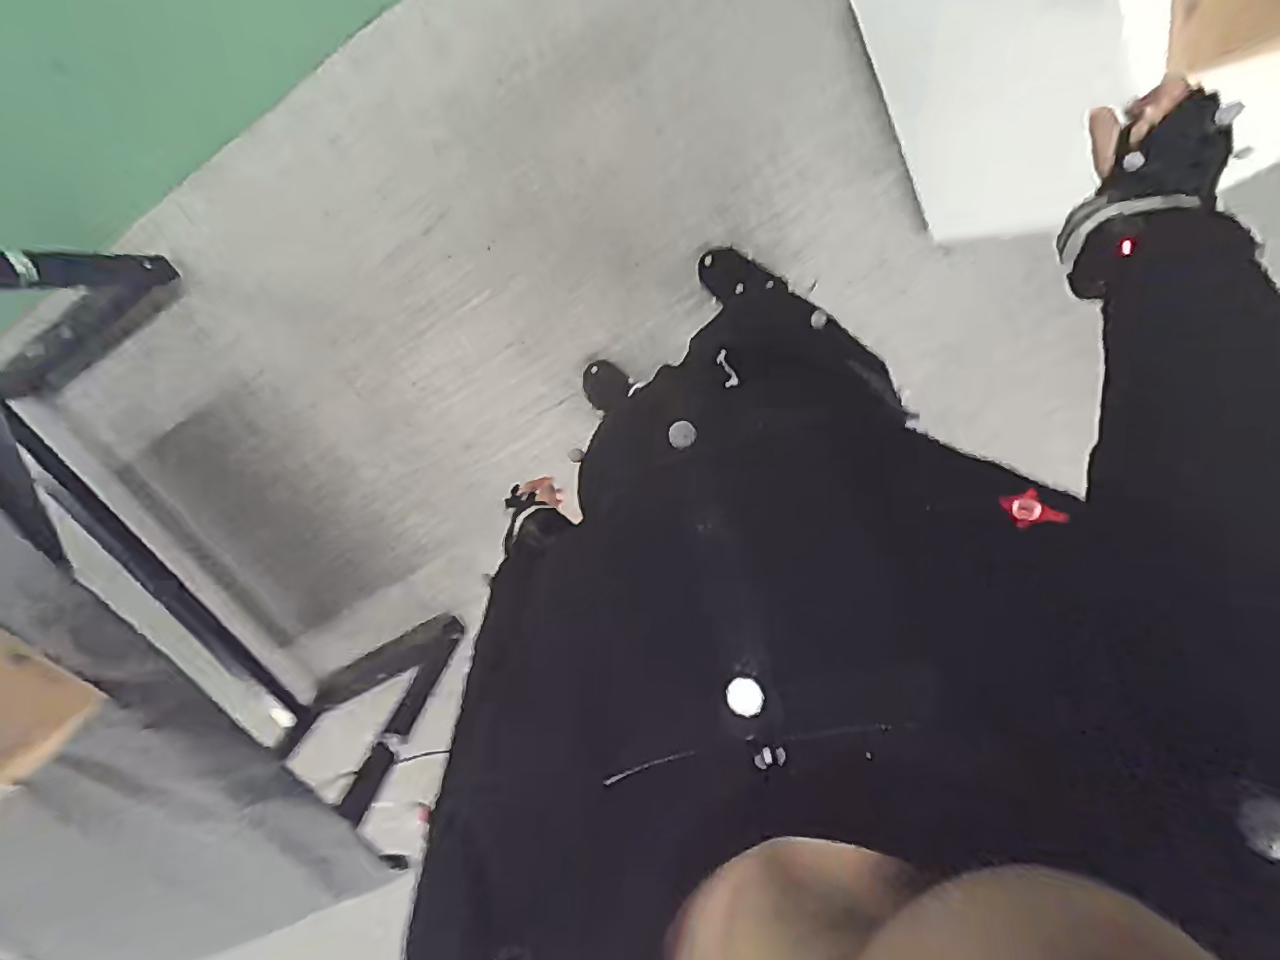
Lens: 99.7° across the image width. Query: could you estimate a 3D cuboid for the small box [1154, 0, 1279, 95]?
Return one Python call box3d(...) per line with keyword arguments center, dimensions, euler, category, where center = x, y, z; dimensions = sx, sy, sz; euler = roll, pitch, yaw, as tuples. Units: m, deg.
box3d(center=(0.618, -0.472, 0.471), dimensions=(0.179, 0.176, 0.168), euler=(-12, 110, 6), category="small box")
